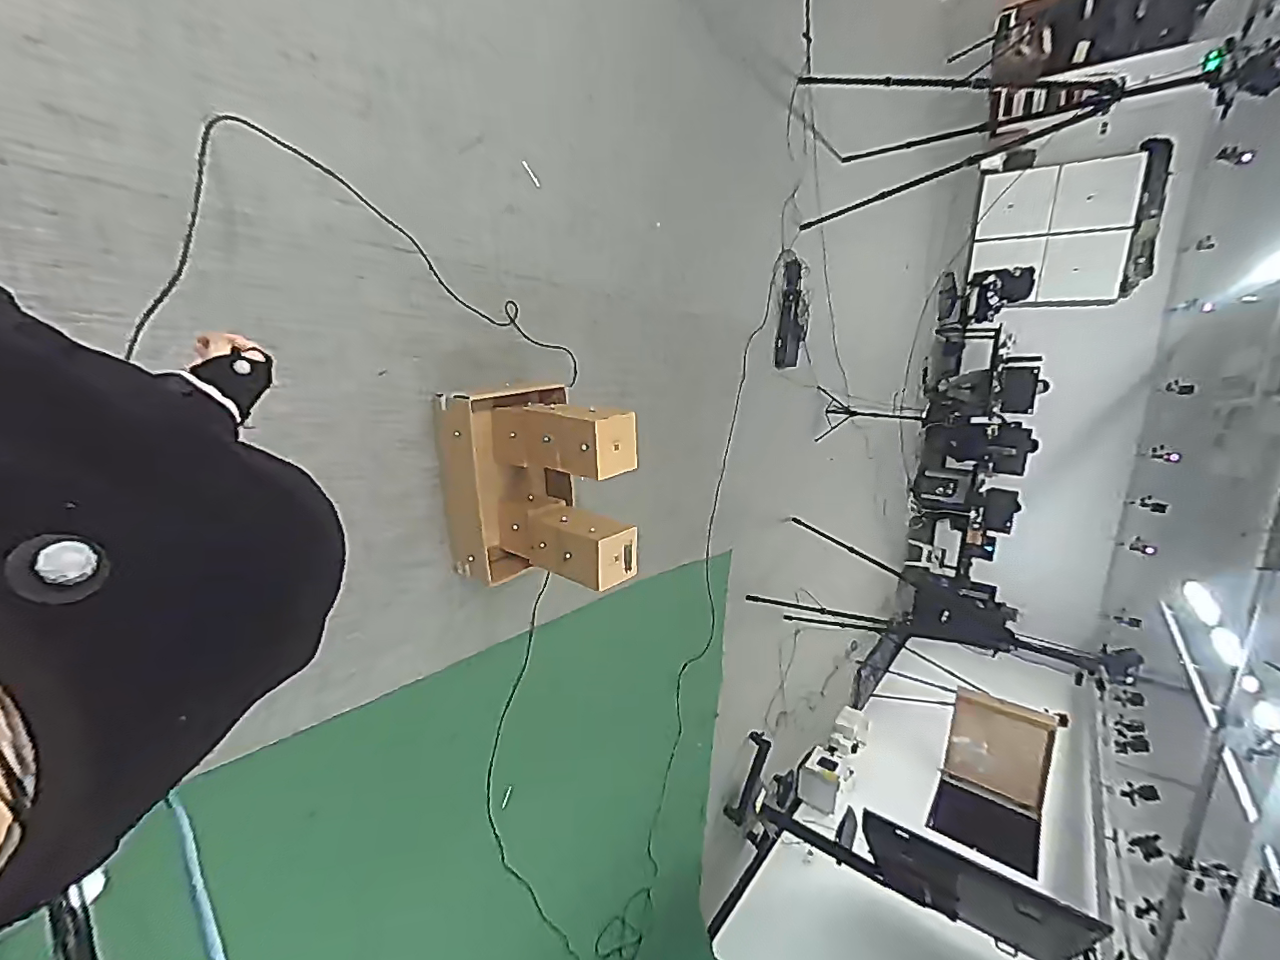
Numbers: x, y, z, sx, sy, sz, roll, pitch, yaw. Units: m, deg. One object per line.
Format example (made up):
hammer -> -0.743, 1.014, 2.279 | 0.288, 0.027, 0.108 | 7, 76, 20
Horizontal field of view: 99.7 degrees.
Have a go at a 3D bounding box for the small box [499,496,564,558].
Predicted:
small box -> -0.379, 0.158, 1.890 | 0.168, 0.176, 0.179 | -16, 110, -49

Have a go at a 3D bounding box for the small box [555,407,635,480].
small box -> -0.134, -0.113, 1.600 | 0.168, 0.176, 0.179 | -21, 114, -45

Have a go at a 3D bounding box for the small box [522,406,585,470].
small box -> -0.259, -0.139, 1.701 | 0.168, 0.176, 0.179 | -15, 111, -48

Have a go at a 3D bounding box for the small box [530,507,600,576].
small box -> -0.252, 0.198, 1.791 | 0.179, 0.176, 0.168 | -16, 112, -50
